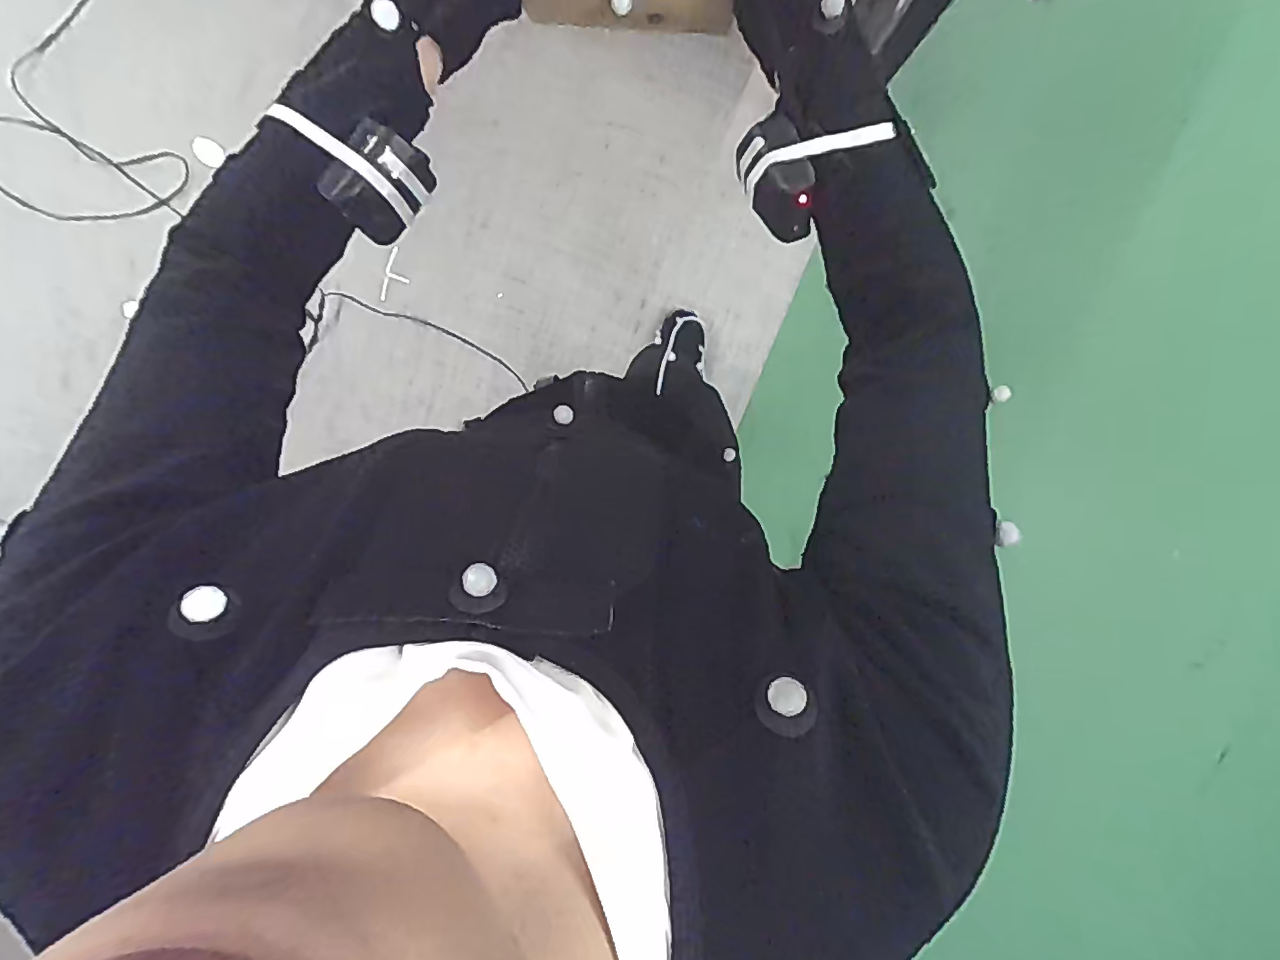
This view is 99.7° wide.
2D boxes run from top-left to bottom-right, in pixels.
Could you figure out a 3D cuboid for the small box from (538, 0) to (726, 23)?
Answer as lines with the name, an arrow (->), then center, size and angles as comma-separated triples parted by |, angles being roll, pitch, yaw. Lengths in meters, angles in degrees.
small box -> -0.010, -0.438, 0.335 | 0.168, 0.176, 0.179 | 6, 105, 3
